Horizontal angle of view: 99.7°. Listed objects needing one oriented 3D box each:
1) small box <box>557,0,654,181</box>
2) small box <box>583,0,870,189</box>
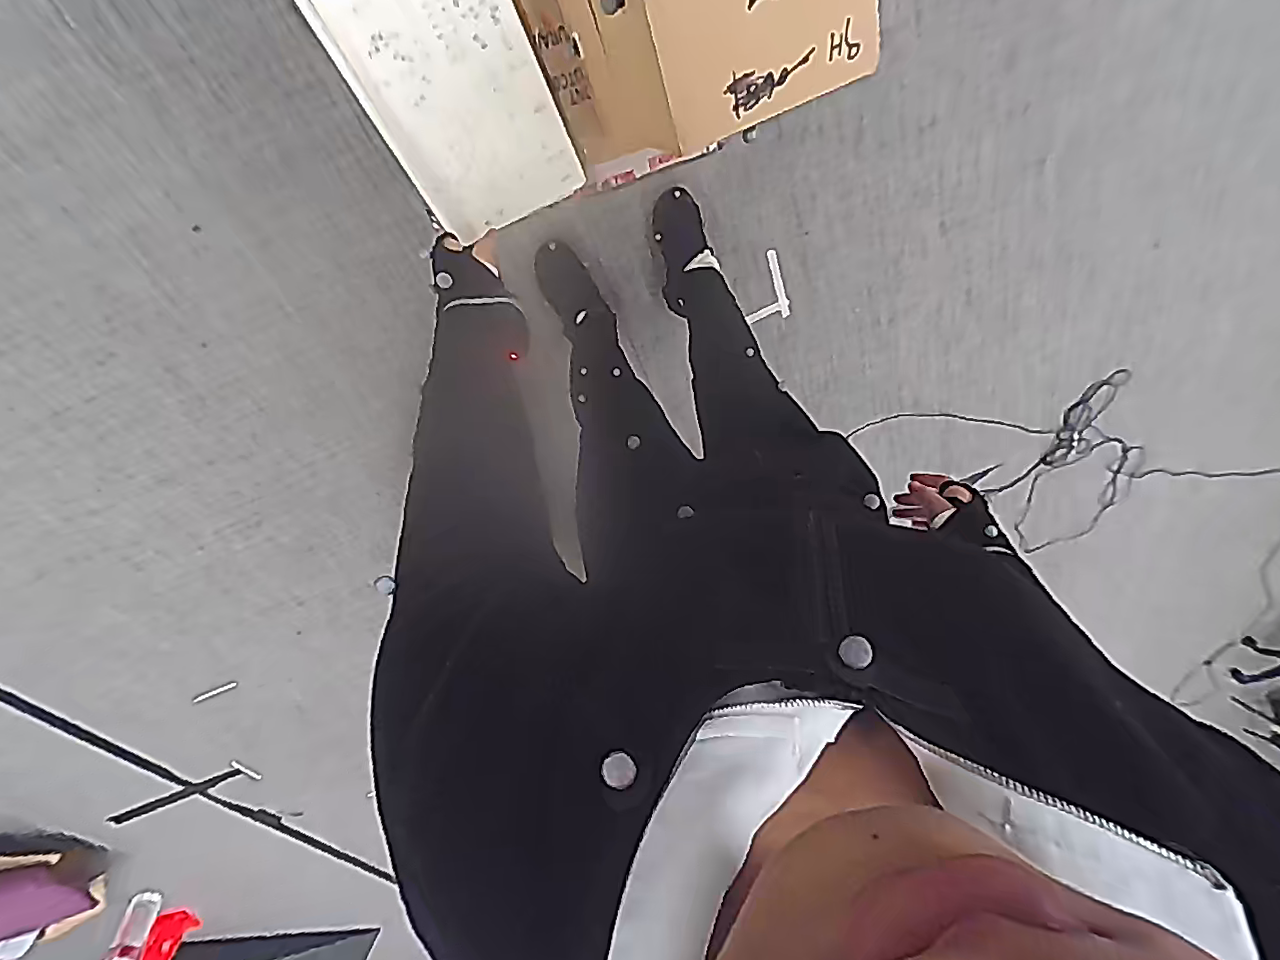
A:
[{"bbox_3d":[0.028,-0.451,0.578,0.179,0.176,0.168,-25,127,3],"label":"small box"},{"bbox_3d":[0.061,-0.366,0.442,0.168,0.176,0.179,-24,127,0],"label":"small box"}]
